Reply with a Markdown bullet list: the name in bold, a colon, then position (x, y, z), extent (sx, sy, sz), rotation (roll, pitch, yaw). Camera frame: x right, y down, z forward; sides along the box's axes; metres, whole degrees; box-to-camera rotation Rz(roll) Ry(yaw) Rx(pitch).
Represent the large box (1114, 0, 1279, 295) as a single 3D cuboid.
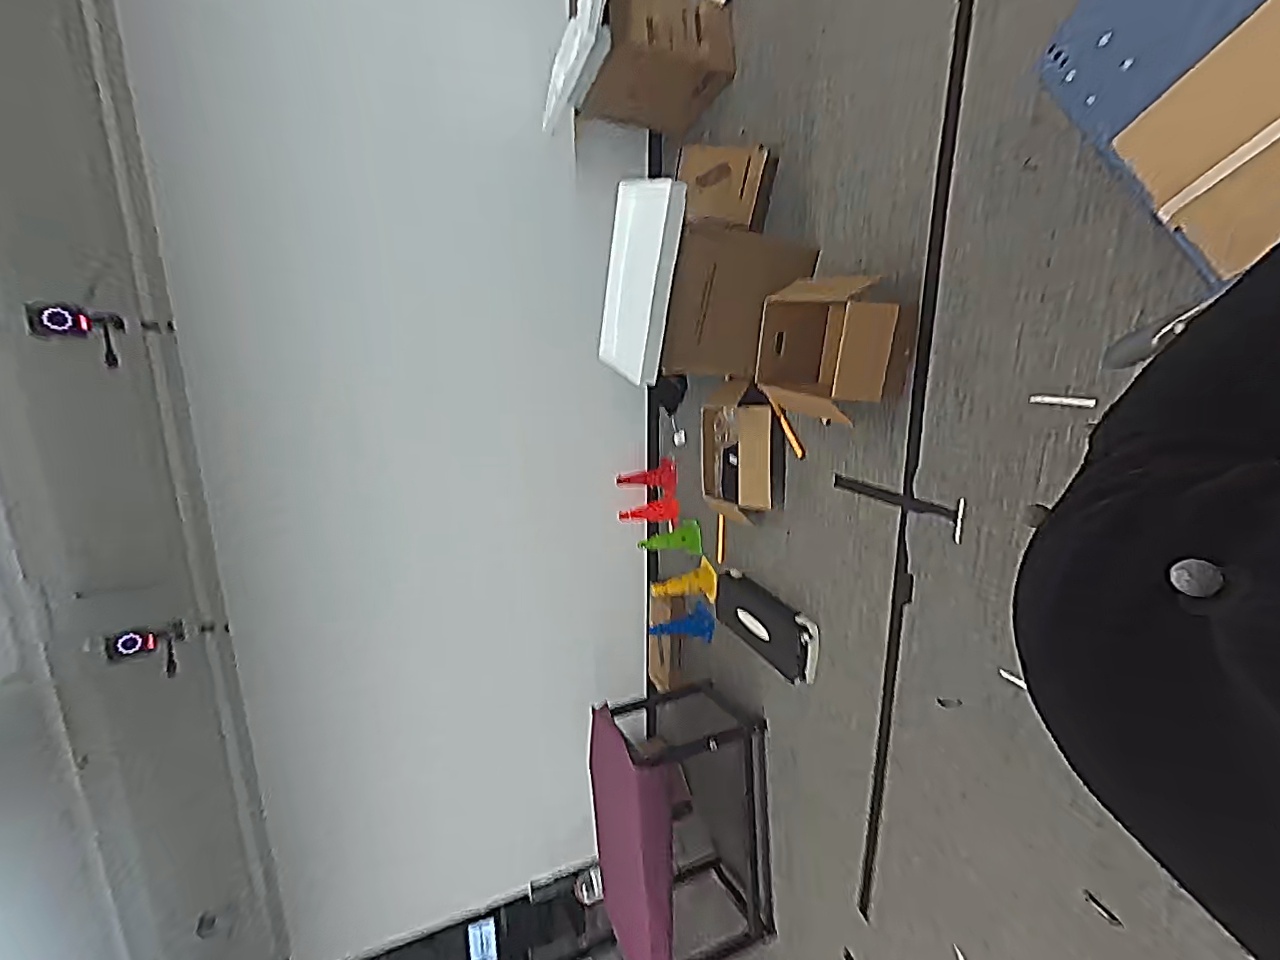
- **large box**: position (0.991, -0.495, 0.704), extent (0.408, 0.320, 0.320), rotation (128, 131, -56)
